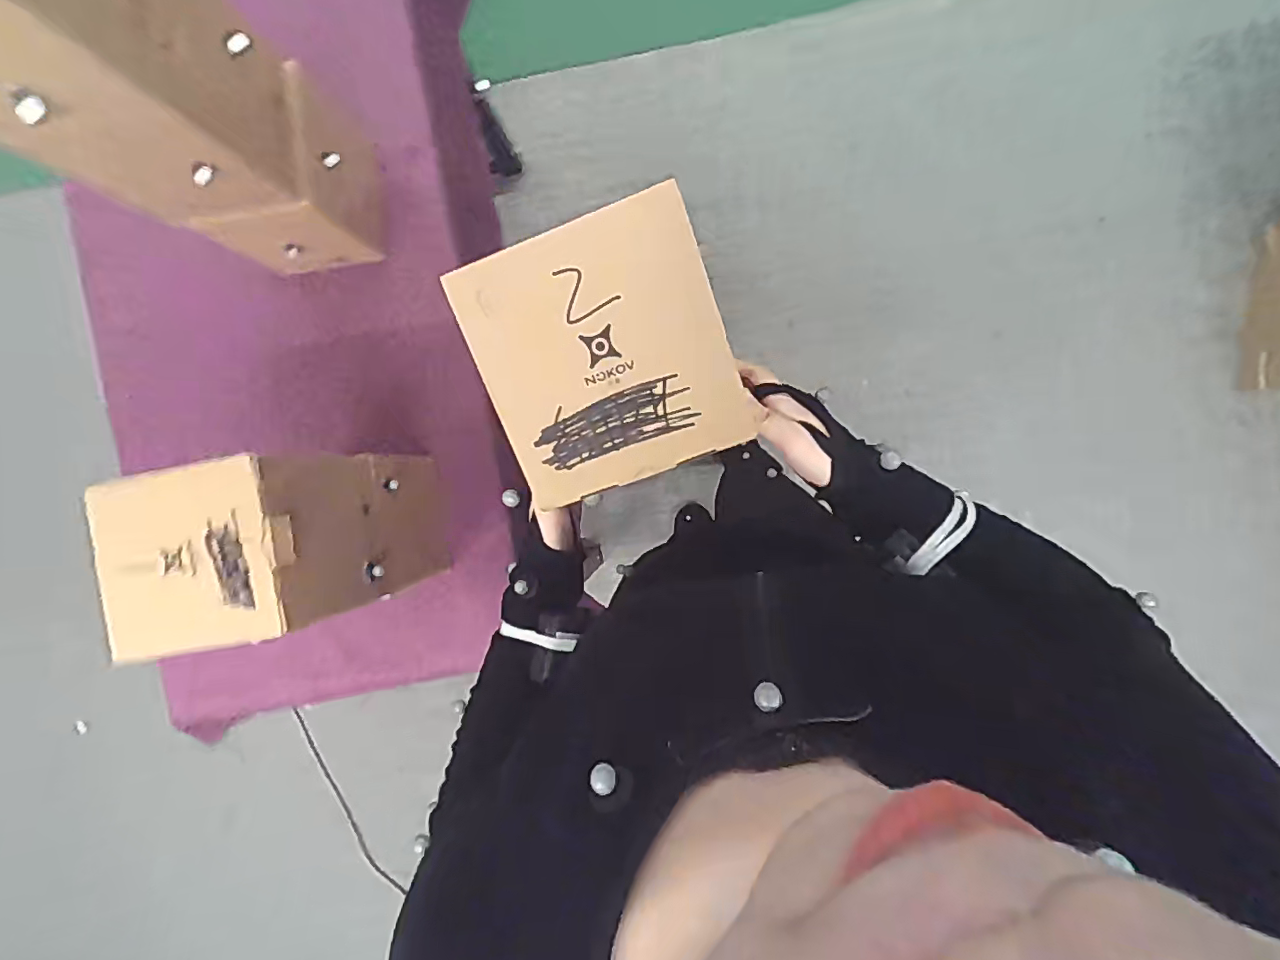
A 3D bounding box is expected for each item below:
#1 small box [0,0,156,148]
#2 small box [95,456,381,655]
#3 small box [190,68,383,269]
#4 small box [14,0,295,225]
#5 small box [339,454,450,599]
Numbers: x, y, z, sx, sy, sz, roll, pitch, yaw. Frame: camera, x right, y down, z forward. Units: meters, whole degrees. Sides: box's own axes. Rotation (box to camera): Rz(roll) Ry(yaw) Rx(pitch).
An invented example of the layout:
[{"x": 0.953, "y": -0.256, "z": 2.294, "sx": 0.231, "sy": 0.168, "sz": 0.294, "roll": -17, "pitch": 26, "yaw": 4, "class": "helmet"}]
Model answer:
[{"x": -0.522, "y": -0.394, "z": 0.415, "sx": 0.179, "sy": 0.176, "sz": 0.168, "roll": -7, "pitch": 89, "yaw": 6, "class": "small box"}, {"x": -0.403, "y": 0.069, "z": 0.575, "sx": 0.179, "sy": 0.176, "sz": 0.168, "roll": -11, "pitch": 89, "yaw": 8, "class": "small box"}, {"x": -0.476, "y": -0.404, "z": 0.739, "sx": 0.168, "sy": 0.176, "sz": 0.179, "roll": -6, "pitch": 90, "yaw": 6, "class": "small box"}, {"x": -0.503, "y": -0.400, "z": 0.578, "sx": 0.179, "sy": 0.176, "sz": 0.168, "roll": -6, "pitch": 90, "yaw": 7, "class": "small box"}, {"x": -0.380, "y": 0.065, "z": 0.738, "sx": 0.168, "sy": 0.176, "sz": 0.179, "roll": -10, "pitch": 89, "yaw": 7, "class": "small box"}]
